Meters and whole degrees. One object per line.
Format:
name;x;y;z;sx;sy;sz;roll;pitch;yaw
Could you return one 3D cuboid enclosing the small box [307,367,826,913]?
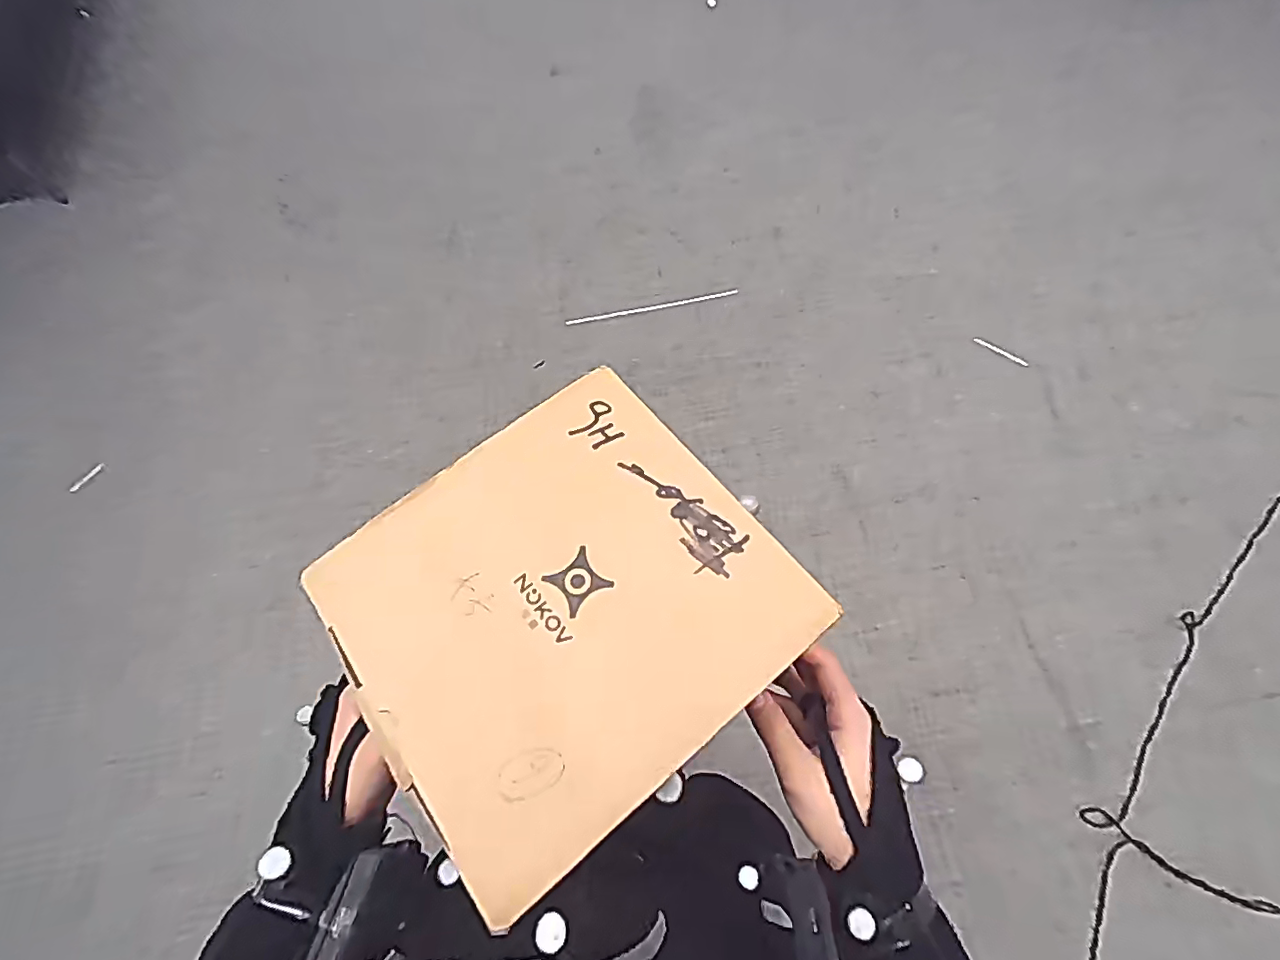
small box;-0.031;0.080;0.306;0.179;0.176;0.168;-37;69;-12
